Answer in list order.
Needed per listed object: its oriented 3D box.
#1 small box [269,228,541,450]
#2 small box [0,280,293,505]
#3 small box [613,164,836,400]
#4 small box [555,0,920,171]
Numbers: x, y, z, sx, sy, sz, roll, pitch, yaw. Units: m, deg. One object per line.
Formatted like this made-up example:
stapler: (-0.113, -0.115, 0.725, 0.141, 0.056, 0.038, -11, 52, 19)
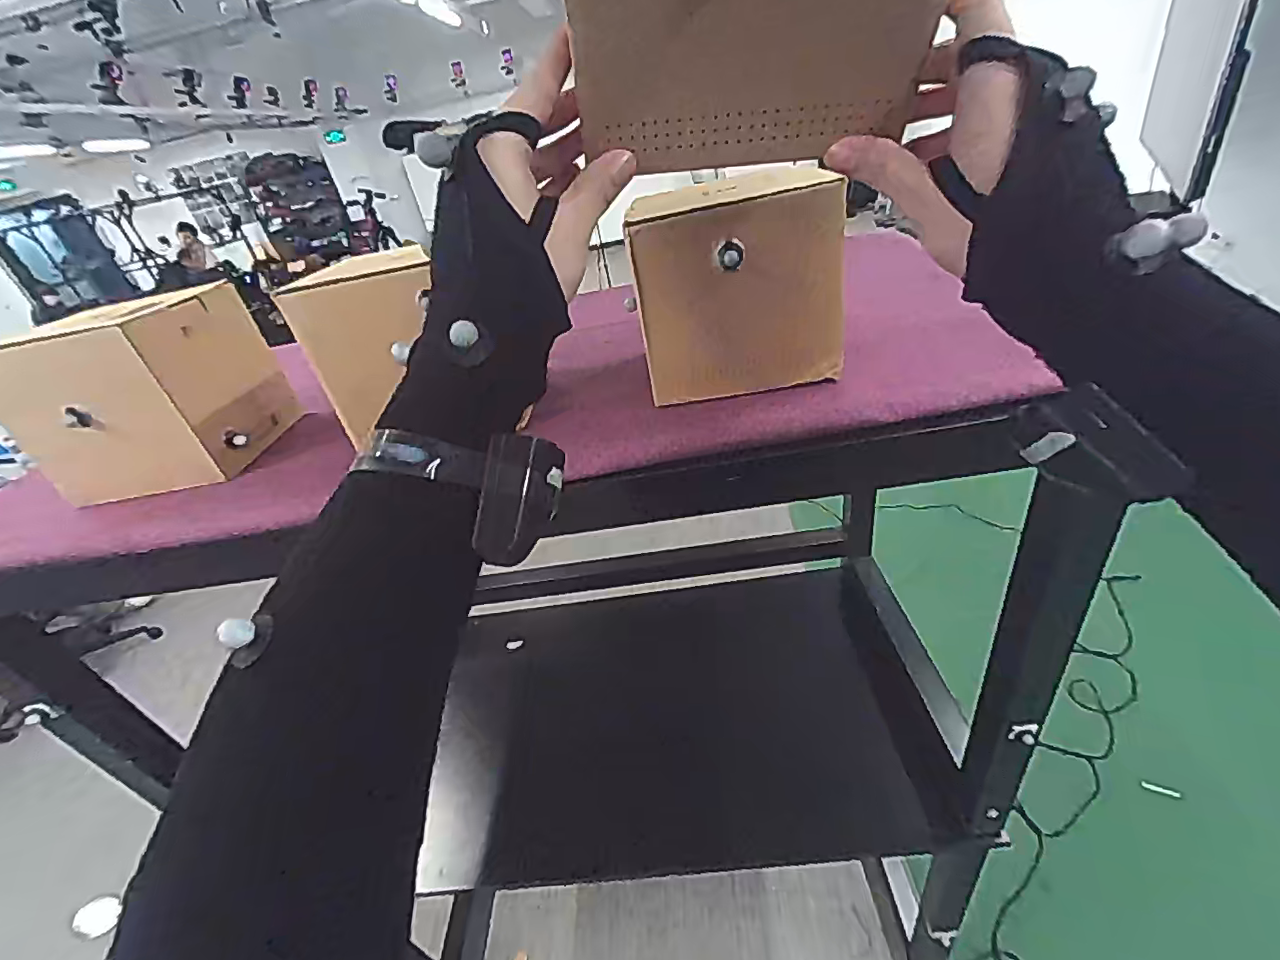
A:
small box: (-0.218, -0.145, 0.559, 0.179, 0.176, 0.168, -9, 33, 5)
small box: (-0.523, -0.095, 0.579, 0.179, 0.176, 0.168, -11, 32, 4)
small box: (0.083, -0.190, 0.524, 0.179, 0.176, 0.168, -8, 33, 8)
small box: (0.043, -0.287, 0.281, 0.179, 0.176, 0.168, -5, 59, 4)
